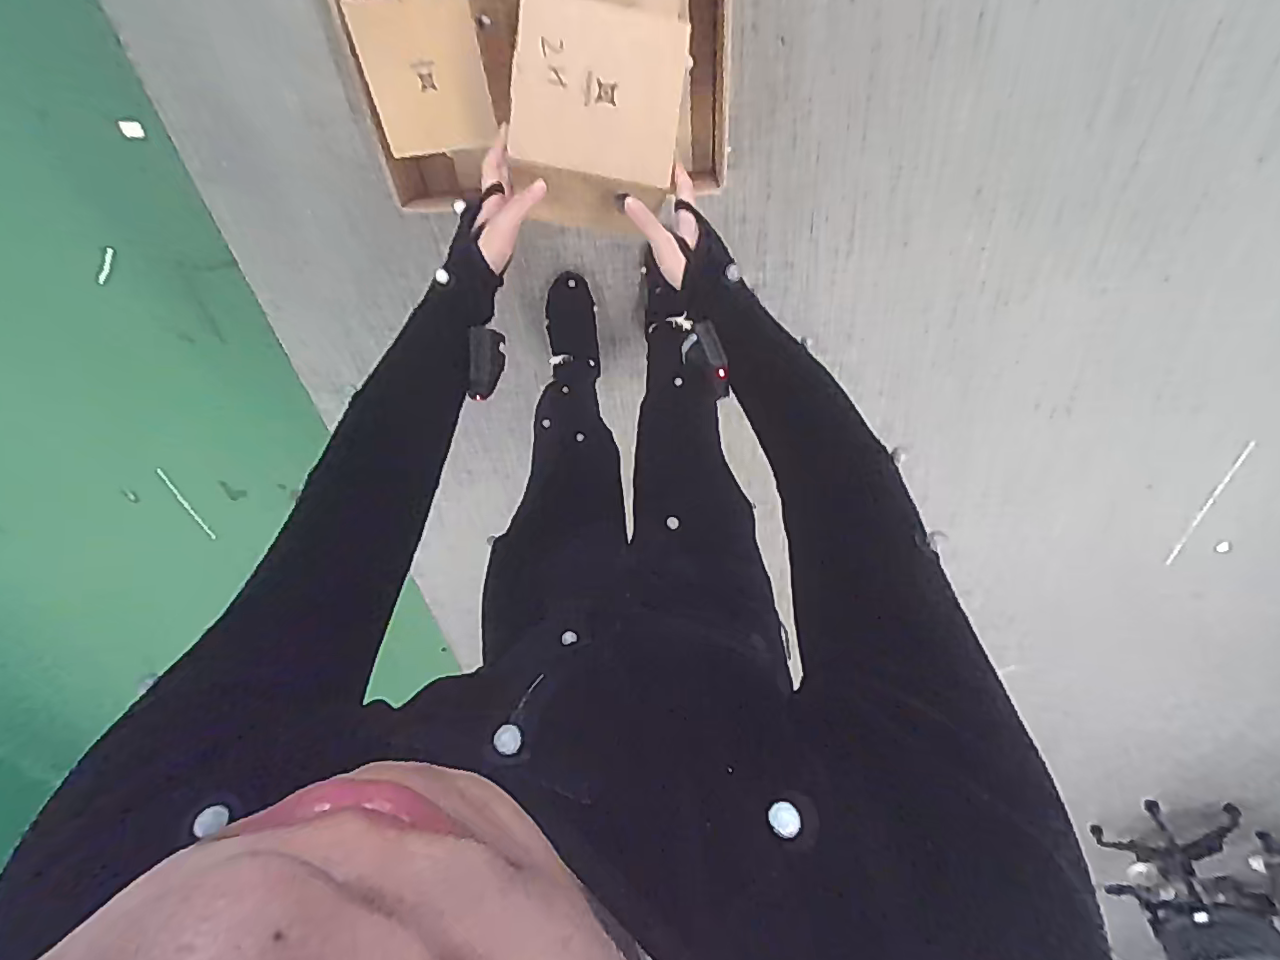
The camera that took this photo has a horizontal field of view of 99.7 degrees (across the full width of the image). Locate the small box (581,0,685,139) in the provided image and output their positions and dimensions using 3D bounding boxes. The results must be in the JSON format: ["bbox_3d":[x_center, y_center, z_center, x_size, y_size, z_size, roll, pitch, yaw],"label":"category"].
[{"bbox_3d":[-0.027,-0.589,0.767,0.179,0.176,0.168,1,129,4],"label":"small box"}]

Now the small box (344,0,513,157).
[{"bbox_3d":[-0.283,-0.594,0.790,0.168,0.176,0.179,-4,128,5],"label":"small box"}]

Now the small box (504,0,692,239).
[{"bbox_3d":[-0.052,-0.401,0.630,0.179,0.176,0.168,7,93,-8],"label":"small box"}]
